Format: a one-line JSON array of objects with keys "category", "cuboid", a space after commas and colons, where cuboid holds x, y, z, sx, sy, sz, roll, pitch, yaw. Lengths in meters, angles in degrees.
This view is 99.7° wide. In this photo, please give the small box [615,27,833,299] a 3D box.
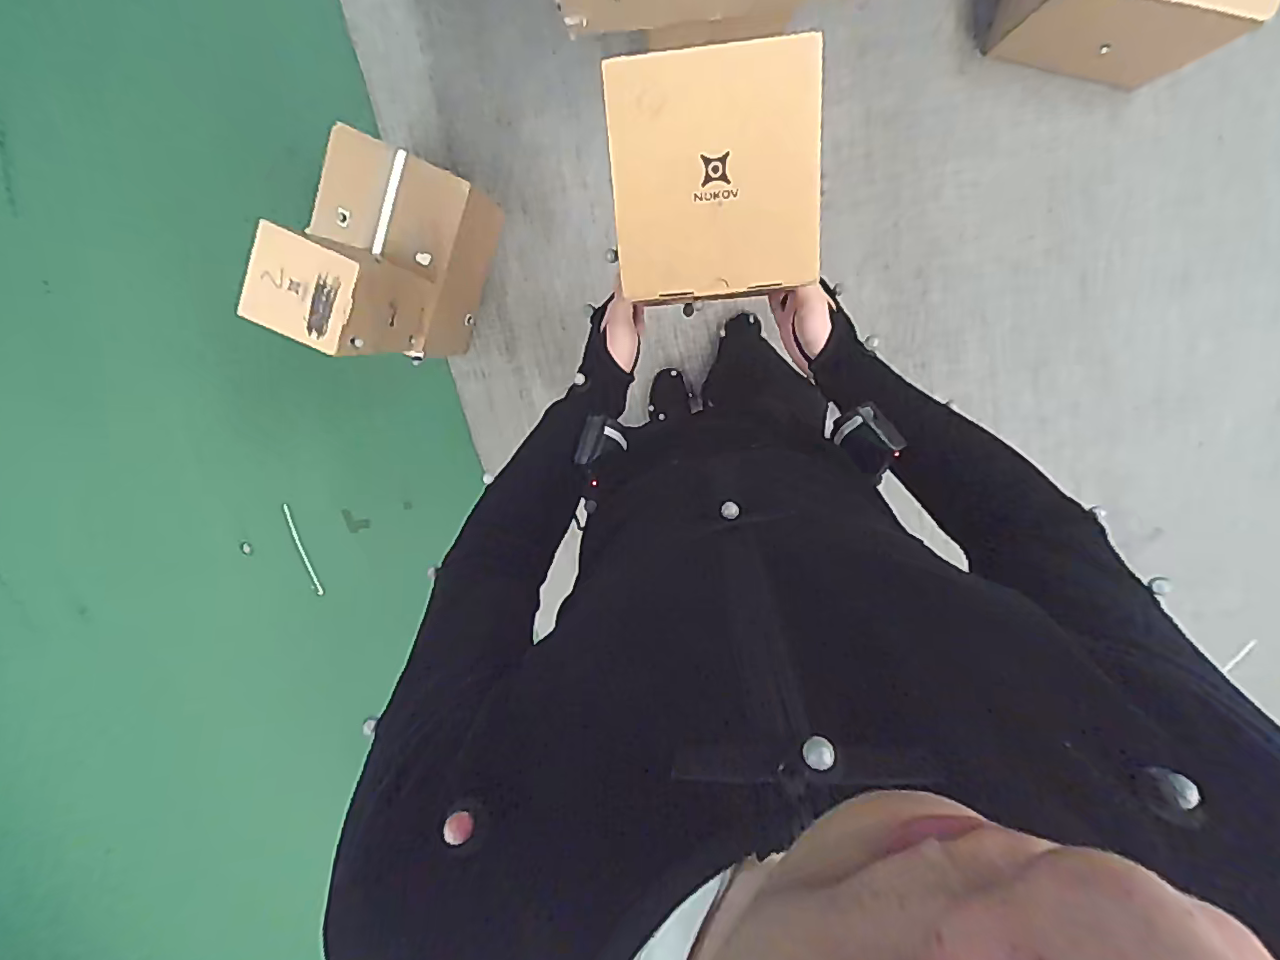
[{"category": "small box", "cuboid": [0.070, -0.267, 0.499, 0.168, 0.176, 0.179, -4, 108, 4]}]

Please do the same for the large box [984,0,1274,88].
[{"category": "large box", "cuboid": [1.065, -1.109, 1.164, 0.408, 0.320, 0.320, 10, 104, 0]}]

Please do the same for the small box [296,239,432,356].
[{"category": "small box", "cuboid": [-0.567, -0.377, 1.136, 0.179, 0.176, 0.168, 25, 103, -5]}]
